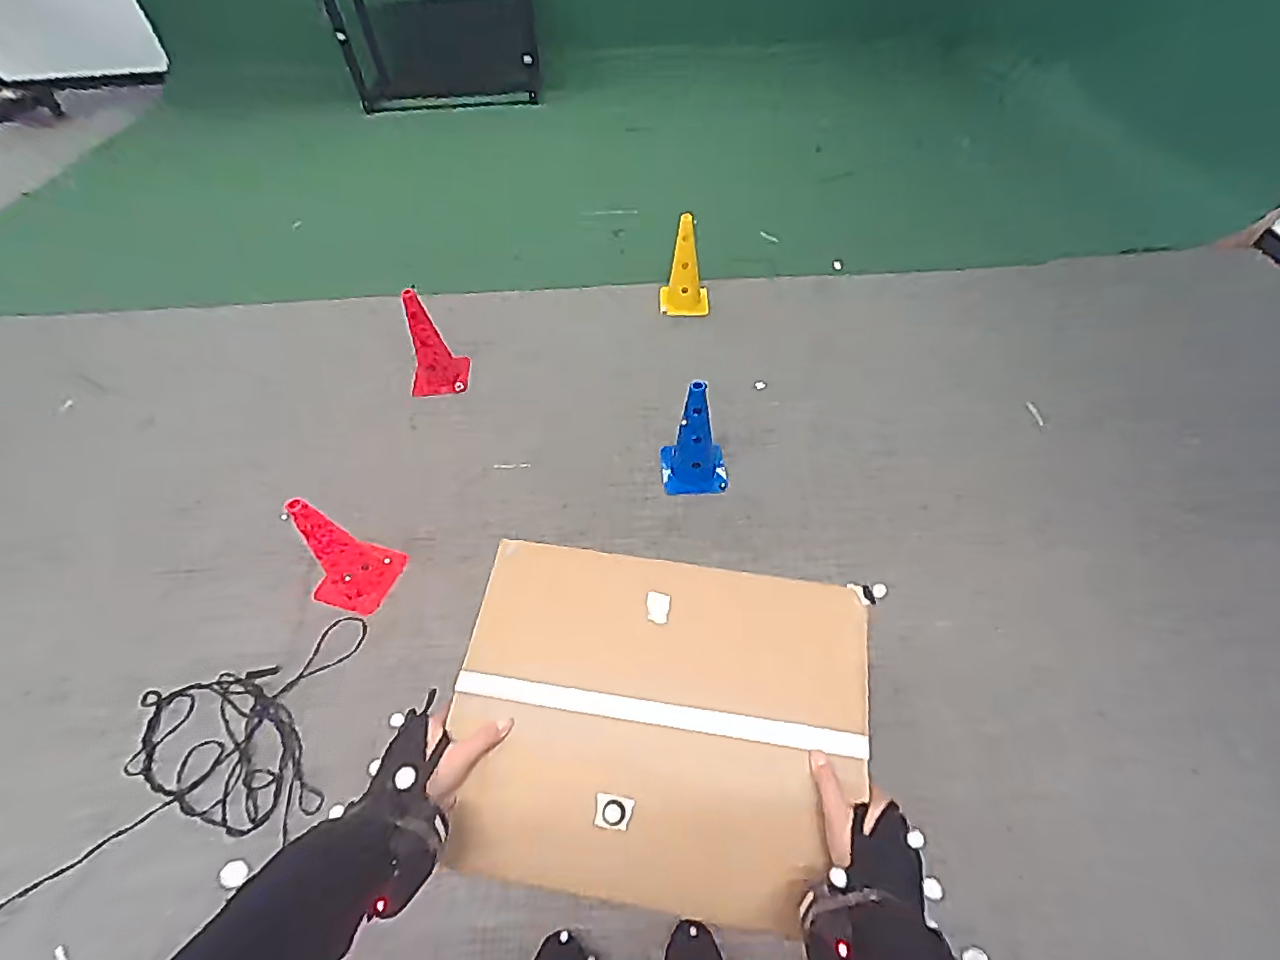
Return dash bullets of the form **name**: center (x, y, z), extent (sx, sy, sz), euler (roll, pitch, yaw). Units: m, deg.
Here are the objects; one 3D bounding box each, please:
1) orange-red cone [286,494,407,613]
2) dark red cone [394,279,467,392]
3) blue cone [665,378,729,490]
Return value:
- **orange-red cone**: center (-0.790, 0.159, 1.383), extent (0.199, 0.360, 0.198), euler (12, 52, 15)
- **dark red cone**: center (-0.756, -0.509, 1.884), extent (0.202, 0.394, 0.201), euler (-9, 49, -3)
- **blue cone**: center (0.171, -0.146, 1.585), extent (0.192, 0.380, 0.193), euler (-3, 52, 1)
